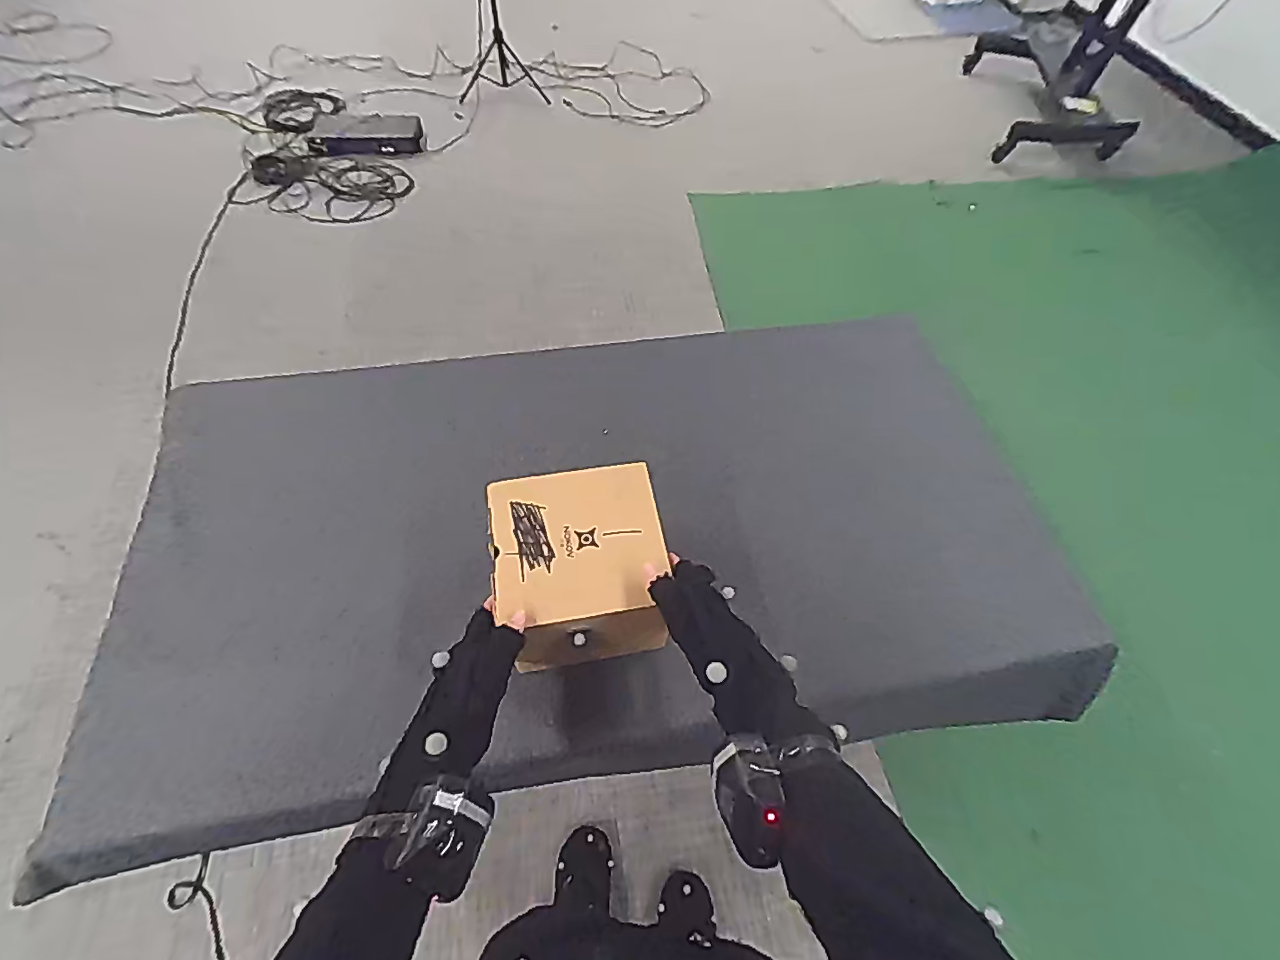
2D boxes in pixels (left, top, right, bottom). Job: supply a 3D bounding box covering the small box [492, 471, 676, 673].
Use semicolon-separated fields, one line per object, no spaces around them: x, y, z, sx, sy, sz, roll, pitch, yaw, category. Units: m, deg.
-0.066;0.111;0.626;0.179;0.176;0.168;-8;59;-9;small box
